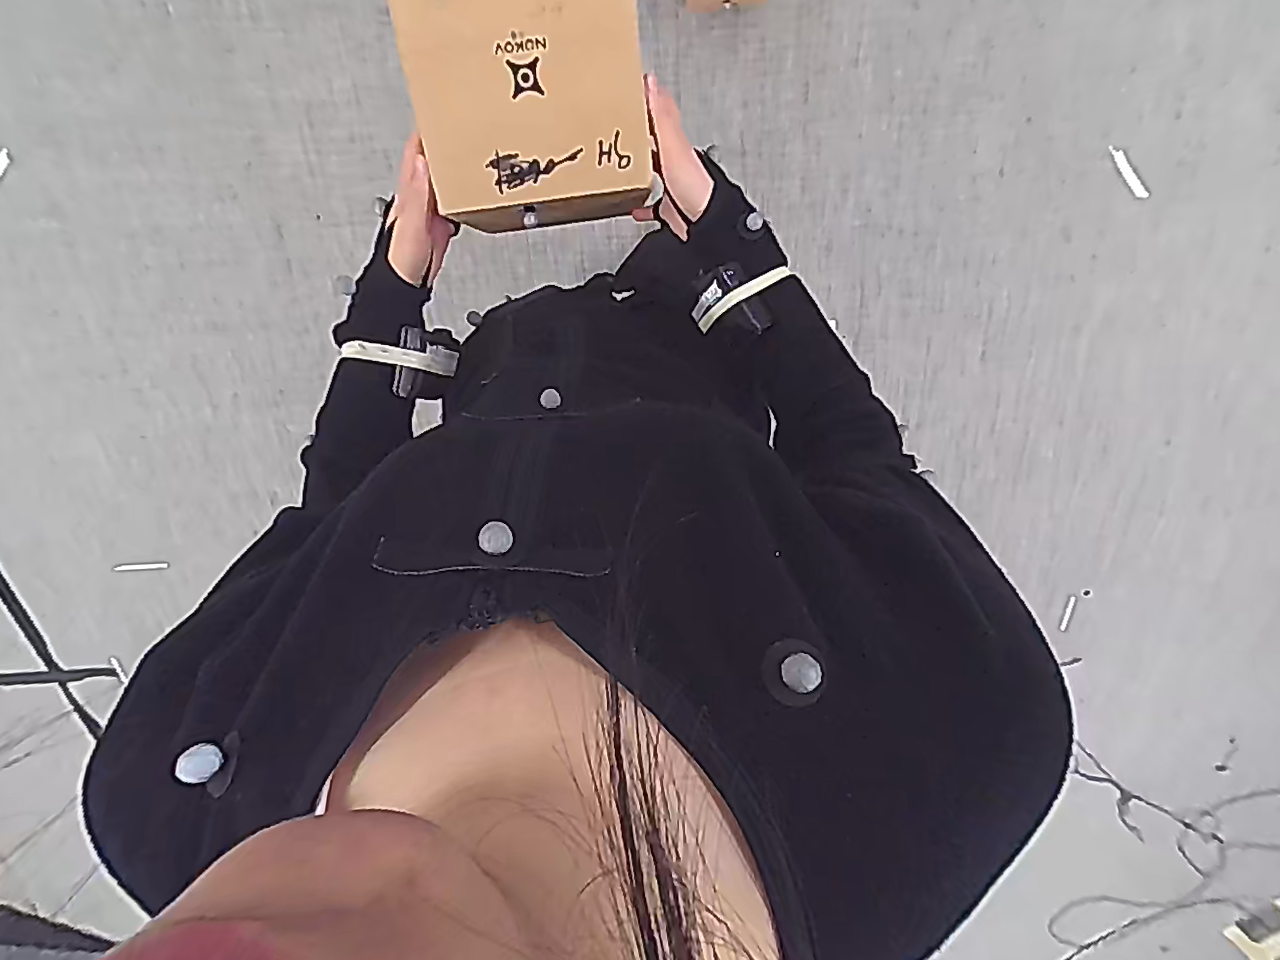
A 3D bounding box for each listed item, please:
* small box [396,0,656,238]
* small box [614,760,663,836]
[{"bbox_3d":[-0.083,-0.314,0.453,0.168,0.176,0.179,-8,110,-1],"label":"small box"},{"bbox_3d":[-0.005,1.158,1.972,0.168,0.176,0.179,-5,113,-1],"label":"small box"}]
